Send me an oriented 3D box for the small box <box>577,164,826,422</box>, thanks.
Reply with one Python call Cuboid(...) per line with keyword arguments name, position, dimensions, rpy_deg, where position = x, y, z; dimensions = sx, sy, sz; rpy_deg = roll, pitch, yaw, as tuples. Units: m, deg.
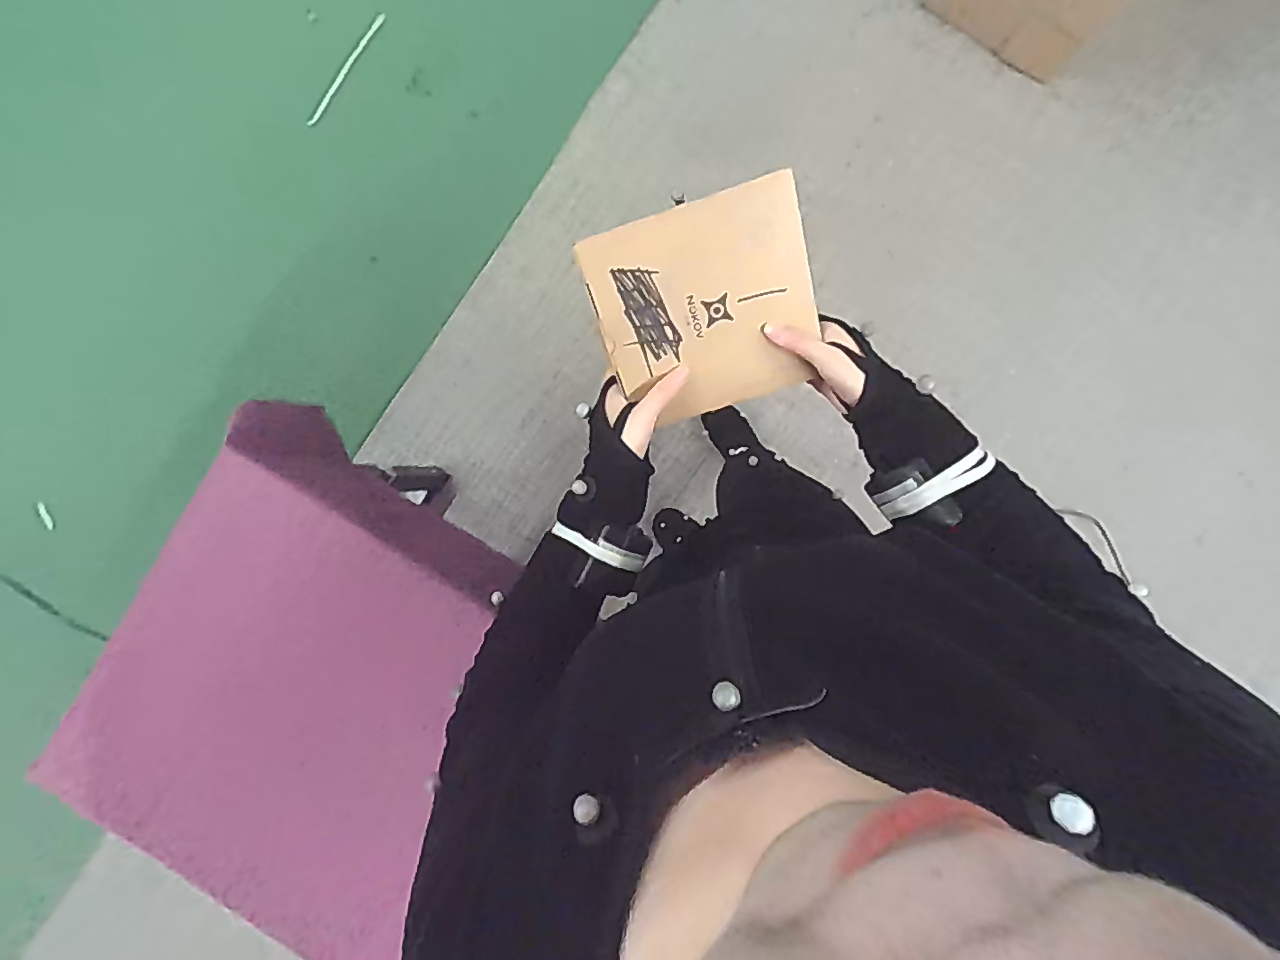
Cuboid(name="small box", position=(0.054, -0.174, 0.513), dimensions=(0.179, 0.176, 0.168), rpy_deg=(-16, 114, 5))
